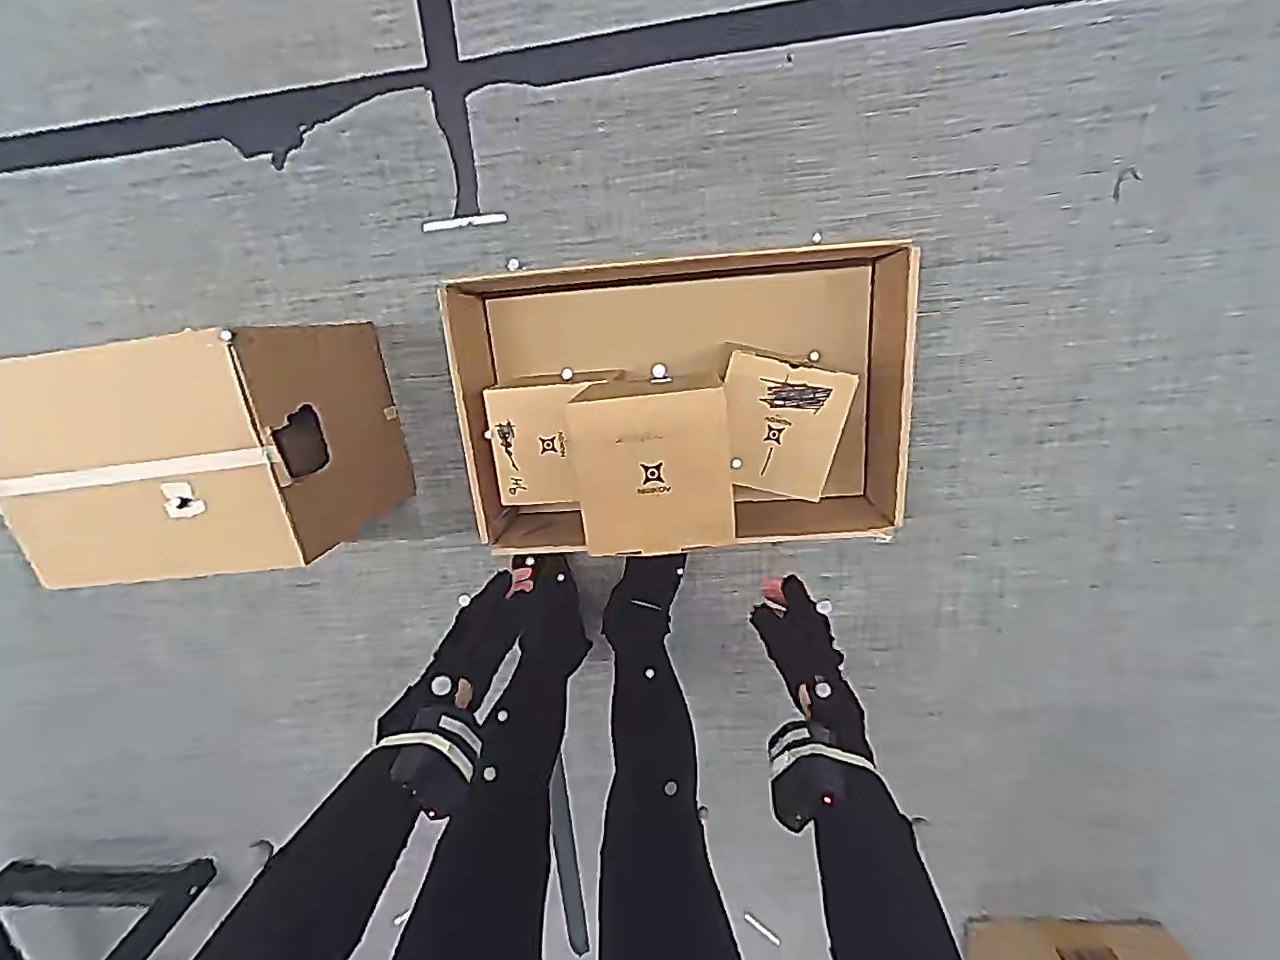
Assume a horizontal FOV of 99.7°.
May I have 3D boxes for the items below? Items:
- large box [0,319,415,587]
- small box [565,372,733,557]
[{"bbox_3d":[-0.637,-0.061,0.836,0.408,0.320,0.320,-7,107,6],"label":"large box"},{"bbox_3d":[0.018,-0.026,0.643,0.168,0.176,0.179,-6,105,5],"label":"small box"}]
